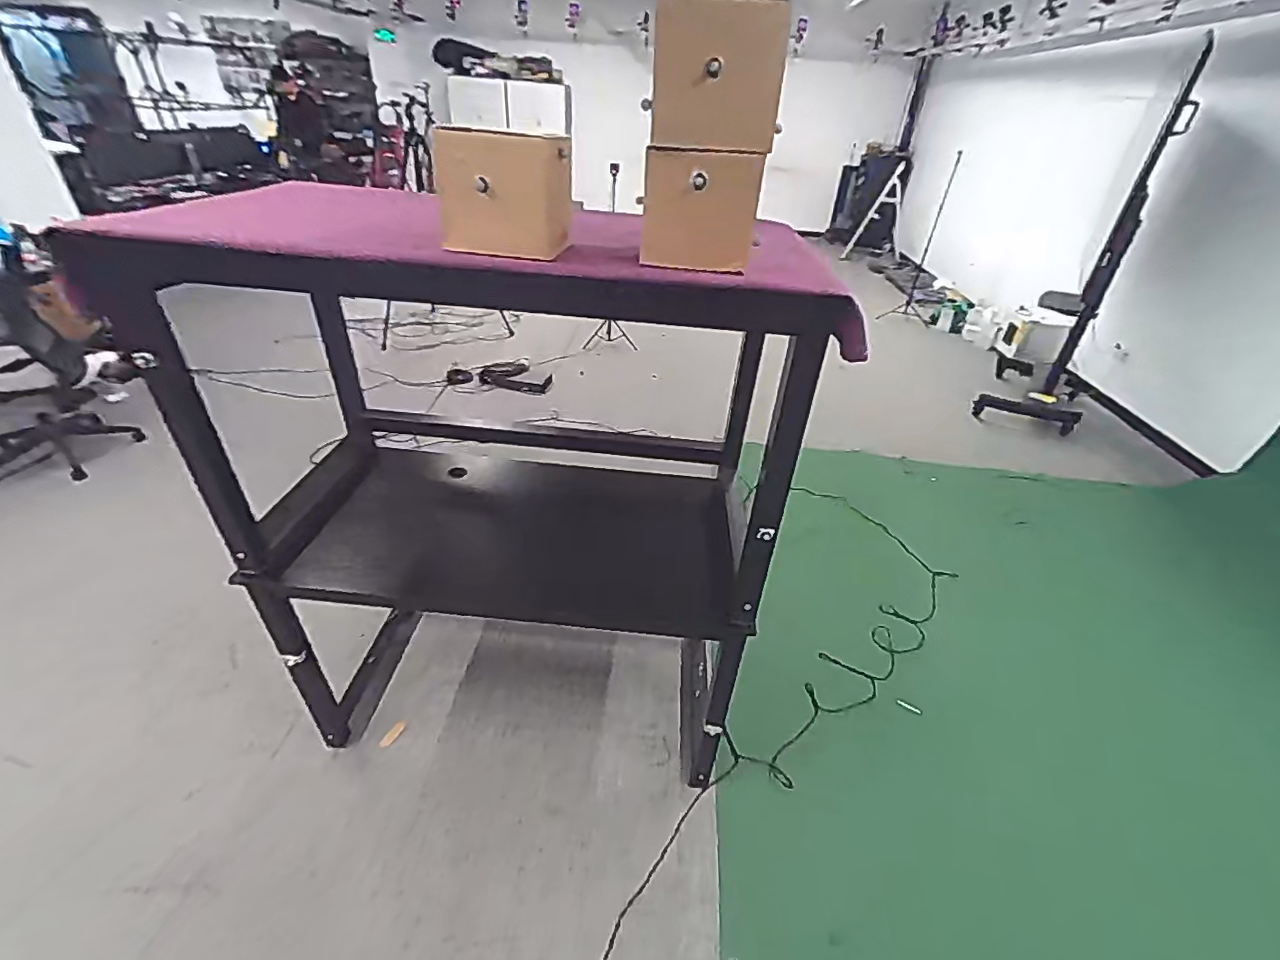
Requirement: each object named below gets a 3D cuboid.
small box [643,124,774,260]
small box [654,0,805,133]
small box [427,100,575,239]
[{"bbox_3d":[0.104,-0.452,0.849,0.179,0.176,0.168,9,35,5],"label":"small box"},{"bbox_3d":[0.115,-0.585,0.754,0.179,0.176,0.168,4,35,1],"label":"small box"},{"bbox_3d":[-0.204,-0.484,0.846,0.179,0.176,0.168,8,35,3],"label":"small box"}]
